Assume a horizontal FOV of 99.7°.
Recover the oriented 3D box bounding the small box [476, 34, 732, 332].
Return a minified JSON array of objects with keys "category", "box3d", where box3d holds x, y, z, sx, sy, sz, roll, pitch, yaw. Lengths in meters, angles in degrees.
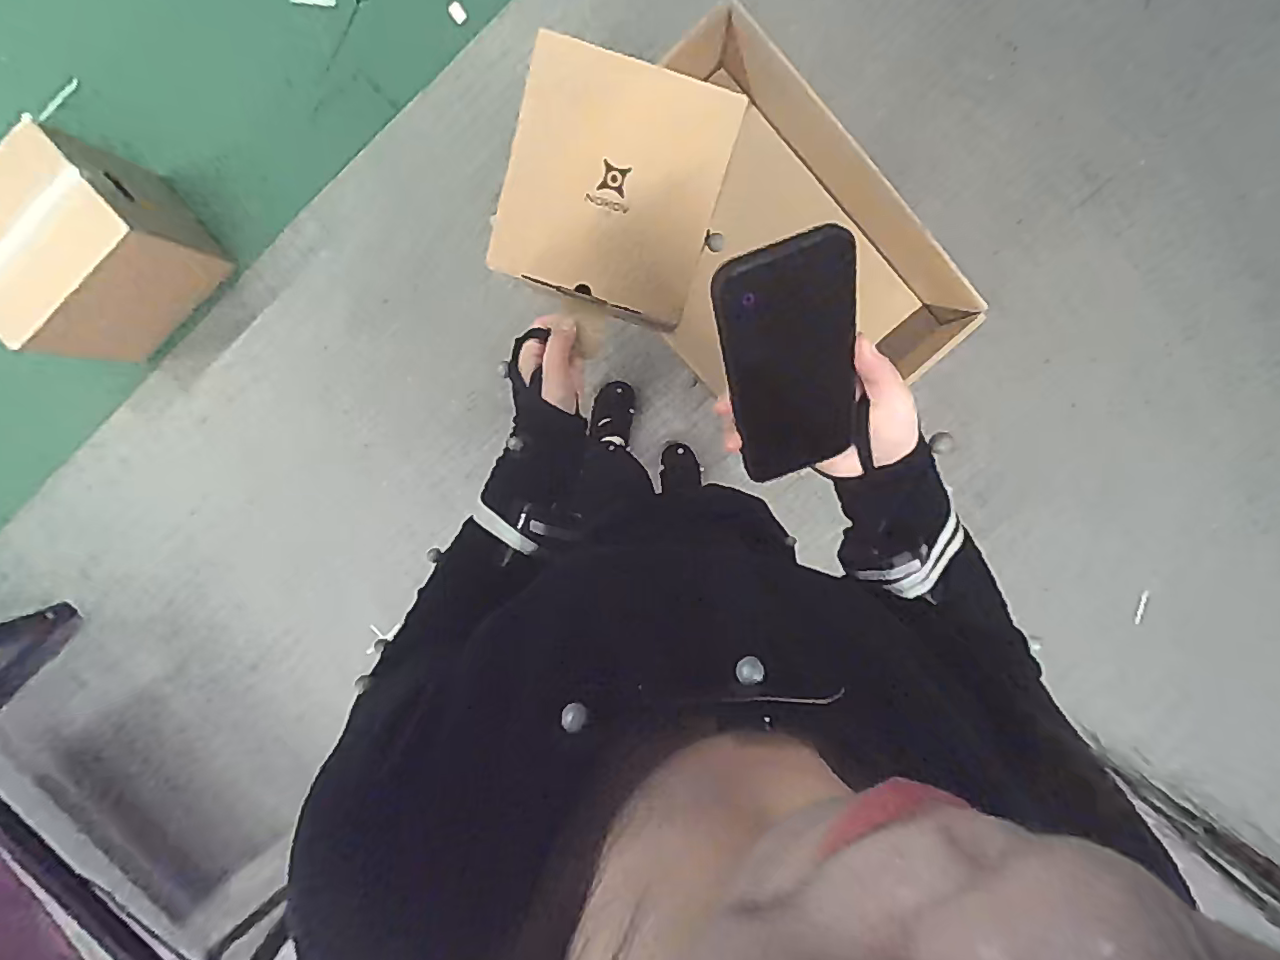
[{"category":"small box","box3d":[-0.029,-0.246,0.499,0.168,0.176,0.179,17,104,-1]}]
